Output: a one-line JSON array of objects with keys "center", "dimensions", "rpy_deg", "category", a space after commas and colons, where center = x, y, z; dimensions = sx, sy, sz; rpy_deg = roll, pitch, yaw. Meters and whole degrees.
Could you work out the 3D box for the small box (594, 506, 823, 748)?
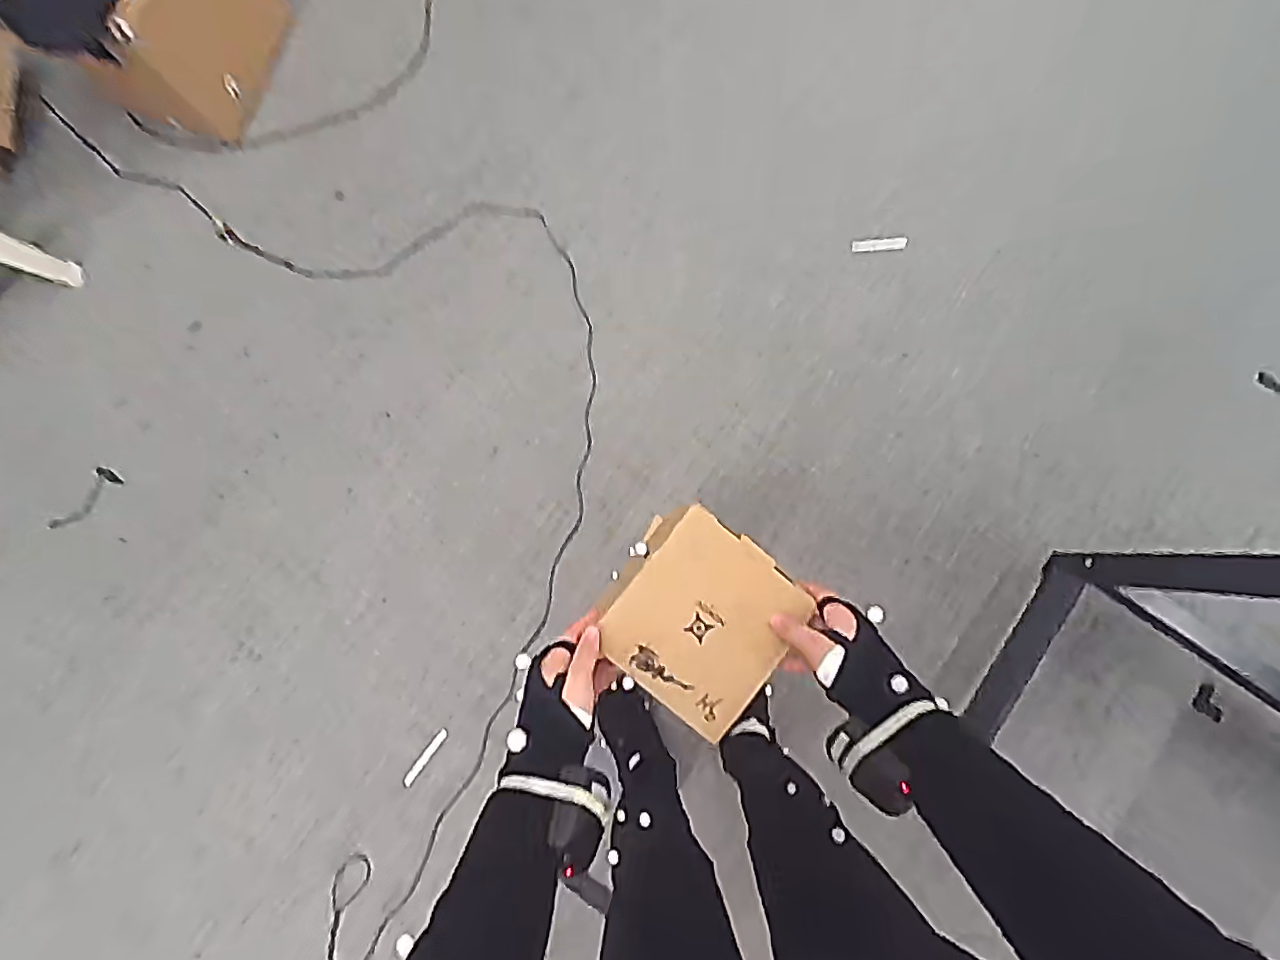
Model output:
[{"center": [0.061, 0.148, 0.606], "dimensions": [0.168, 0.176, 0.179], "rpy_deg": [39, 83, 0], "category": "small box"}]
